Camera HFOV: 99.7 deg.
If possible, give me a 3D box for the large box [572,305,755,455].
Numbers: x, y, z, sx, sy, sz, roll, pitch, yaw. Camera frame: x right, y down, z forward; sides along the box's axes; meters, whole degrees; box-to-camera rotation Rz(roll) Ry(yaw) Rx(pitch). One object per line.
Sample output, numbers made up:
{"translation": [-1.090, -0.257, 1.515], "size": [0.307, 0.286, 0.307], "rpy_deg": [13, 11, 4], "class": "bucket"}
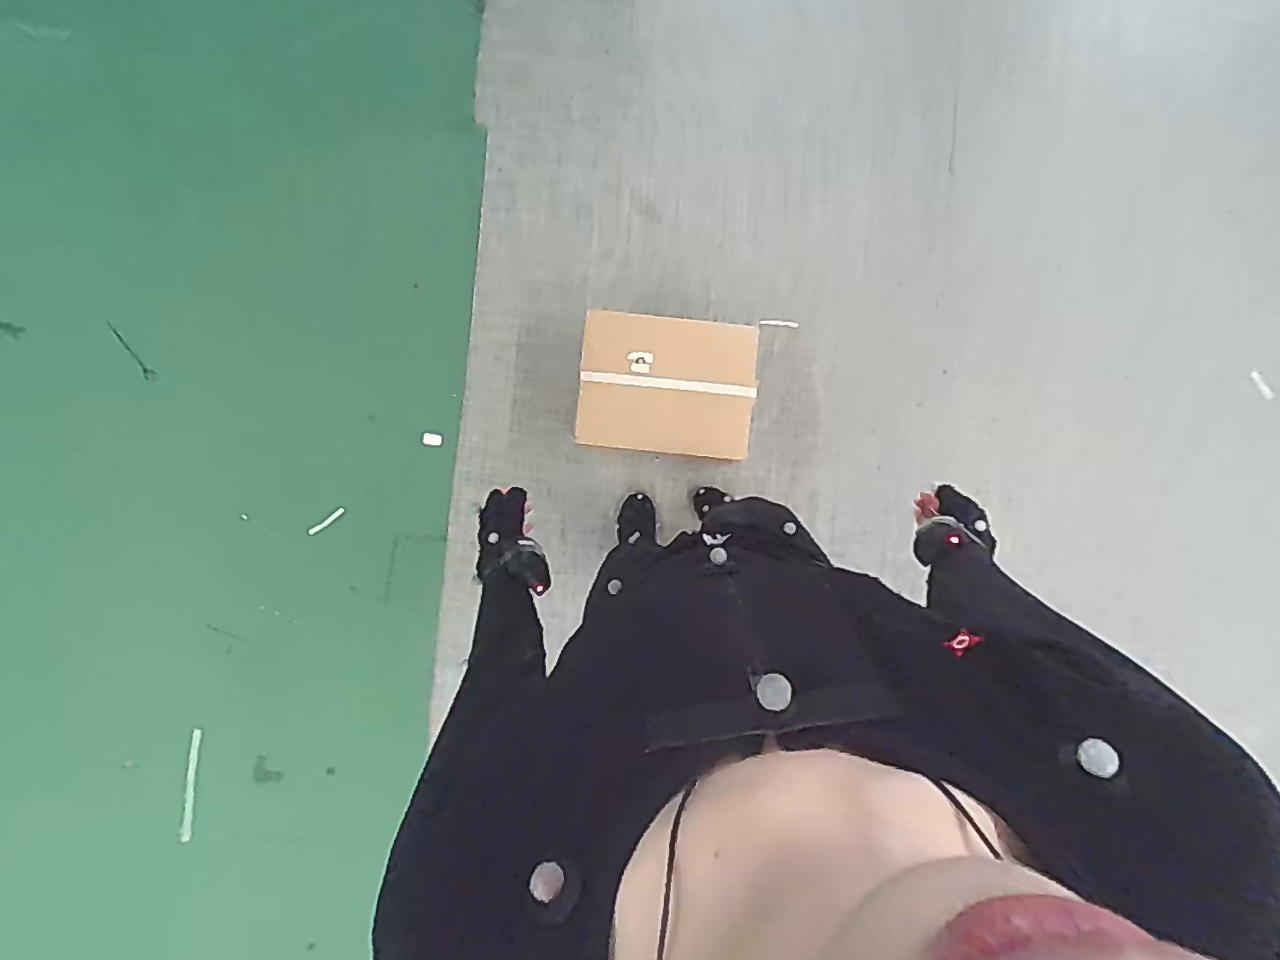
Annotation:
{"translation": [0.057, -0.233, 1.381], "size": [0.408, 0.320, 0.320], "rpy_deg": [6, 89, 0], "class": "large box"}
